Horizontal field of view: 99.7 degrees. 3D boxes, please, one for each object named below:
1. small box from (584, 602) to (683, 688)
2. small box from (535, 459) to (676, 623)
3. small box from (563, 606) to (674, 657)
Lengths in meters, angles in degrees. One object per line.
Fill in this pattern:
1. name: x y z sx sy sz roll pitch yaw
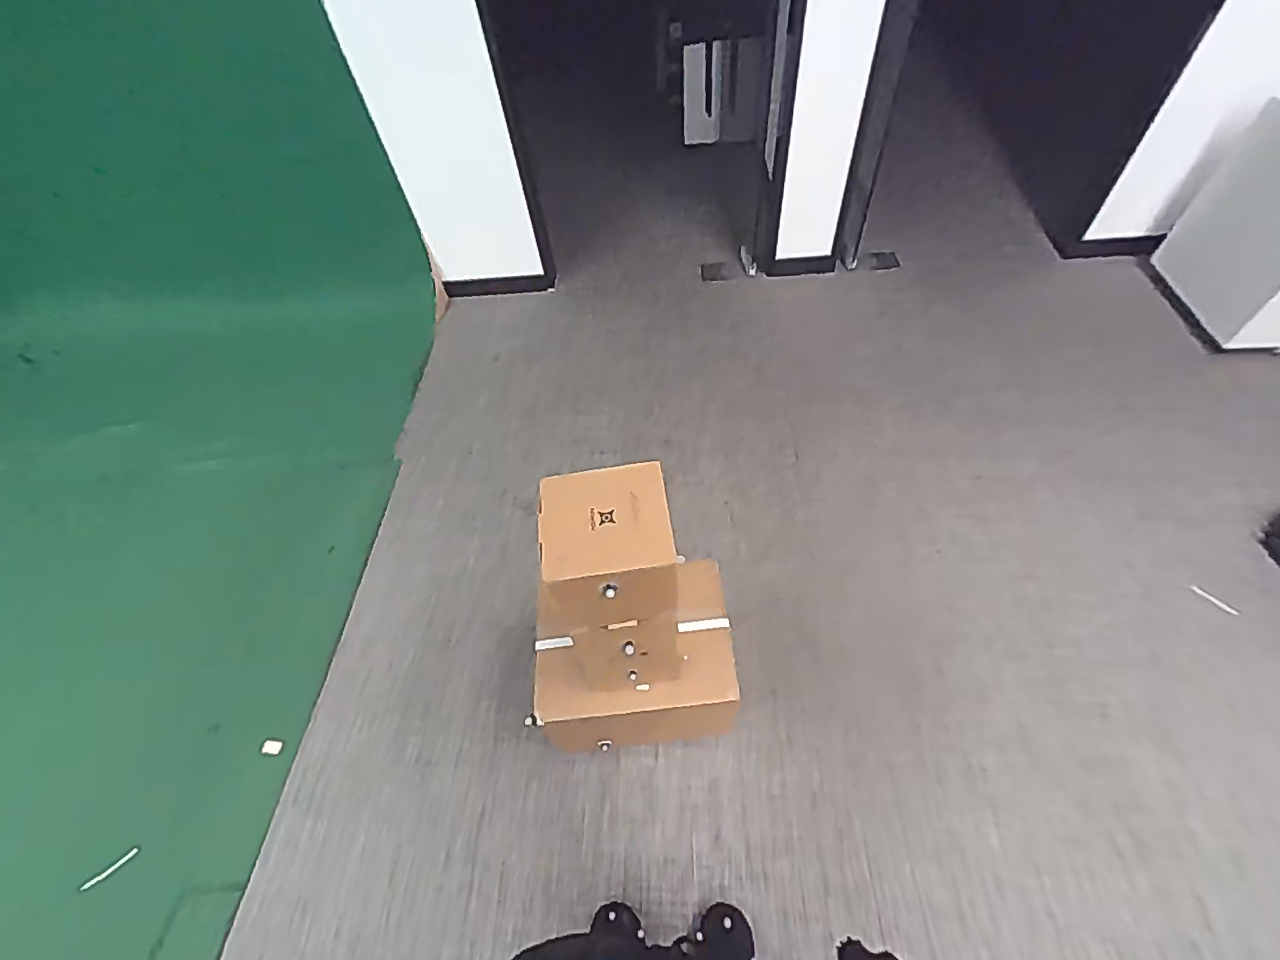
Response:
1. small box: -0.019 0.286 1.044 0.179 0.176 0.168 -11 54 -3
2. small box: -0.046 0.094 0.782 0.179 0.176 0.168 -8 55 -1
3. small box: -0.038 0.188 0.915 0.168 0.176 0.179 -9 55 -1
